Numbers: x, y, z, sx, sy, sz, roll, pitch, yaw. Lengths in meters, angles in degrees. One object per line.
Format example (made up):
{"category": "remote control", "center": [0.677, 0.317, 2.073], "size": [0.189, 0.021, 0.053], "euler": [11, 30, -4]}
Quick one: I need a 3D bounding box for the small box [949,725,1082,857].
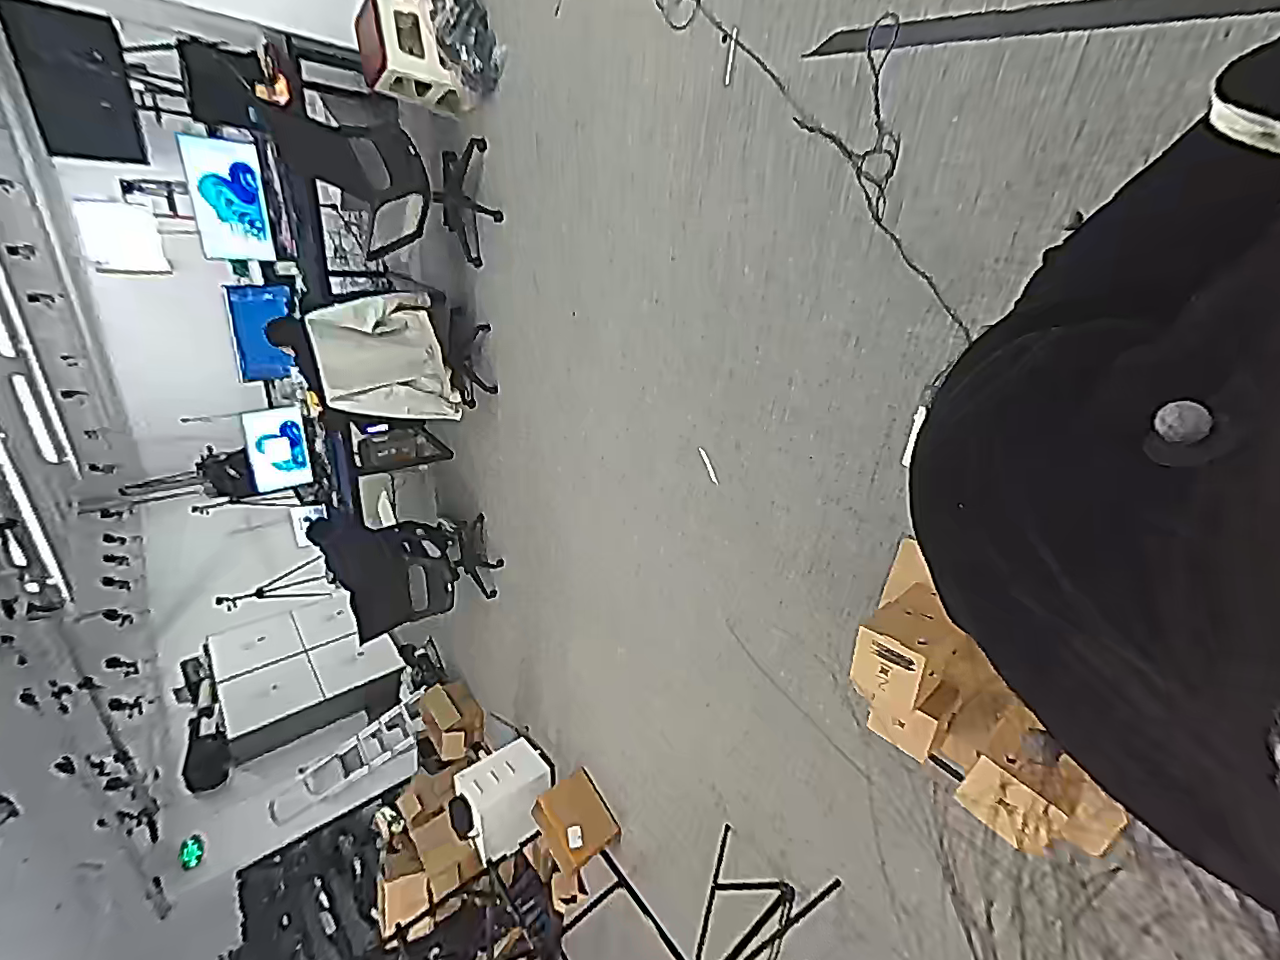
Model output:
{"category": "small box", "center": [0.855, 0.694, 1.234], "size": [0.179, 0.176, 0.168], "euler": [34, 127, 37]}

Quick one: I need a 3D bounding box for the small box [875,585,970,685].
{"category": "small box", "center": [0.780, 0.417, 1.490], "size": [0.168, 0.176, 0.179], "euler": [26, 122, 43]}

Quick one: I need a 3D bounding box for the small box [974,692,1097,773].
{"category": "small box", "center": [0.977, 0.655, 1.338], "size": [0.179, 0.176, 0.168], "euler": [33, 126, 38]}

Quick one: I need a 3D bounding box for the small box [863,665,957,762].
{"category": "small box", "center": [0.785, 0.665, 1.575], "size": [0.179, 0.176, 0.168], "euler": [25, 122, 43]}
